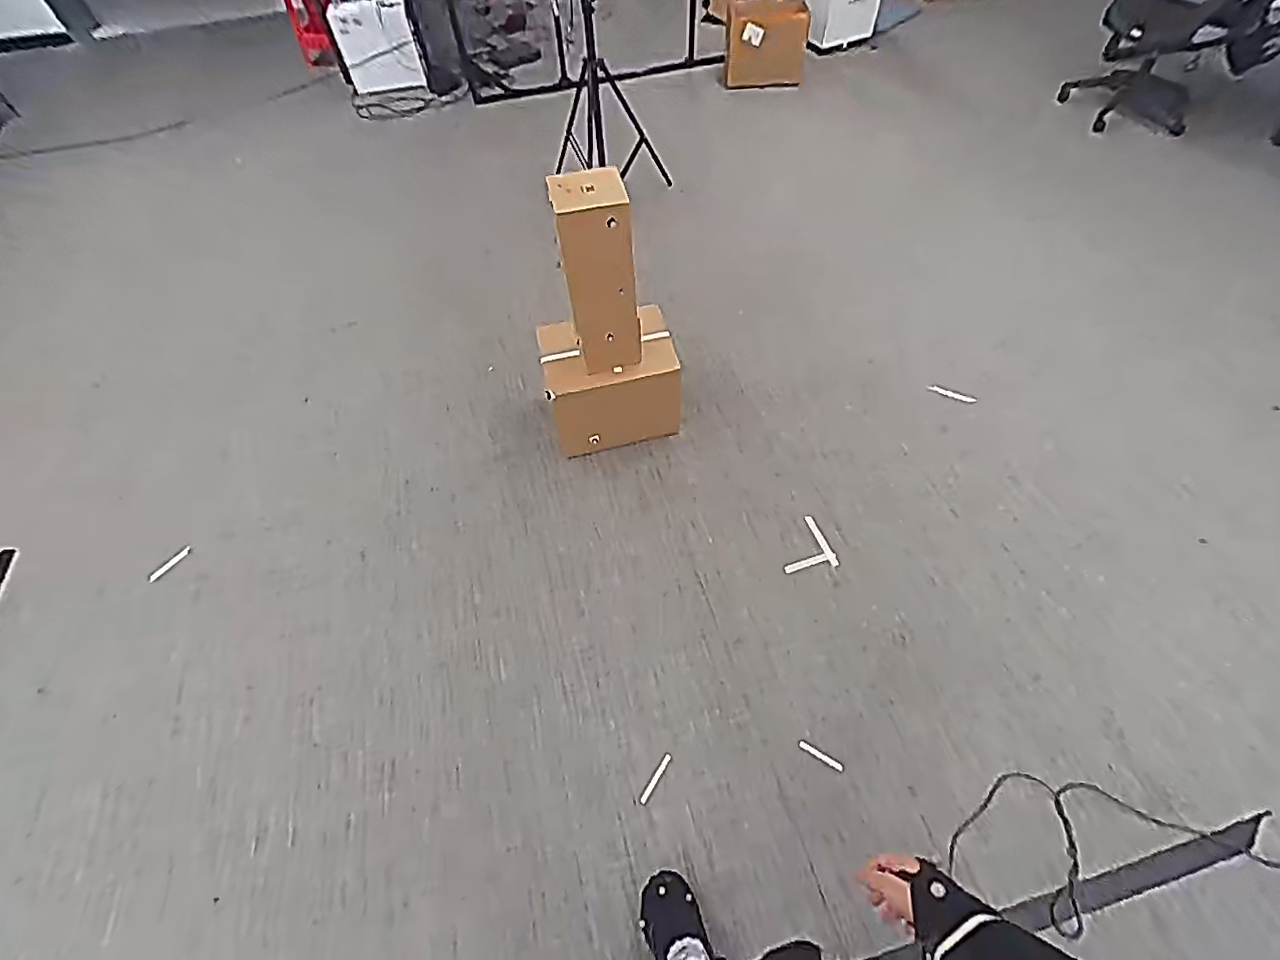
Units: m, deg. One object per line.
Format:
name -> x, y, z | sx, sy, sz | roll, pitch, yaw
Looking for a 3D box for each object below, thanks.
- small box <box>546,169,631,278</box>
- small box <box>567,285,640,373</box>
small box -> -0.120, -0.621, 1.317 | 0.179, 0.176, 0.168 | -12, 57, -5
small box -> -0.103, -0.440, 1.591 | 0.179, 0.176, 0.168 | -15, 58, -8
